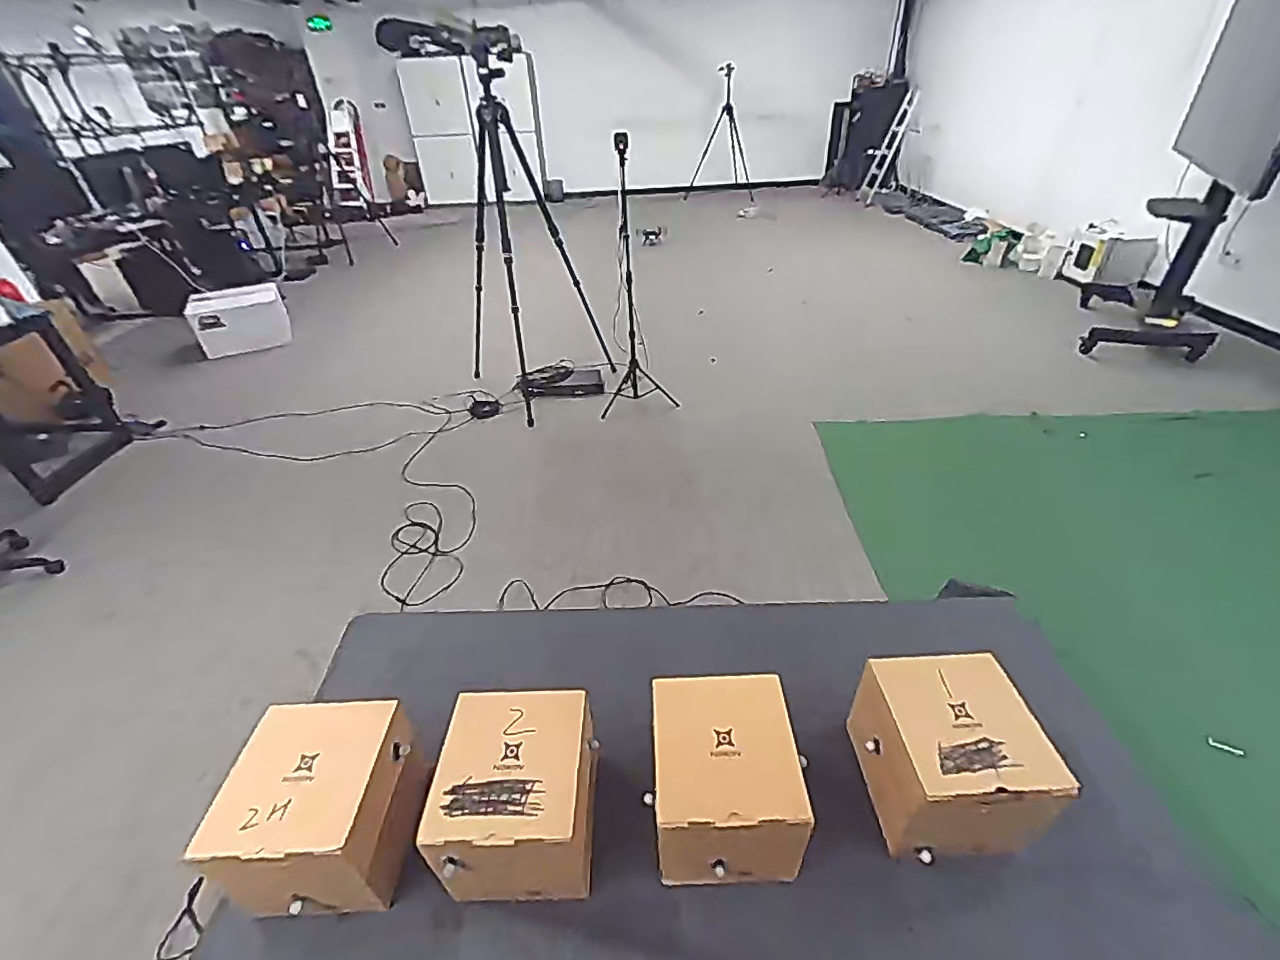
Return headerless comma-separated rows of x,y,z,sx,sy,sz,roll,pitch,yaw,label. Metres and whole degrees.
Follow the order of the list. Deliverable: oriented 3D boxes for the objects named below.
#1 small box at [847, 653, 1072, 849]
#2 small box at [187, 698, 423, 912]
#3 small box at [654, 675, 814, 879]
0.384,0.348,0.691,0.168,0.176,0.179,-2,36,0,small box
-0.385,0.395,0.666,0.168,0.176,0.179,-2,35,-1,small box
0.103,0.371,0.682,0.168,0.176,0.179,-2,37,0,small box
